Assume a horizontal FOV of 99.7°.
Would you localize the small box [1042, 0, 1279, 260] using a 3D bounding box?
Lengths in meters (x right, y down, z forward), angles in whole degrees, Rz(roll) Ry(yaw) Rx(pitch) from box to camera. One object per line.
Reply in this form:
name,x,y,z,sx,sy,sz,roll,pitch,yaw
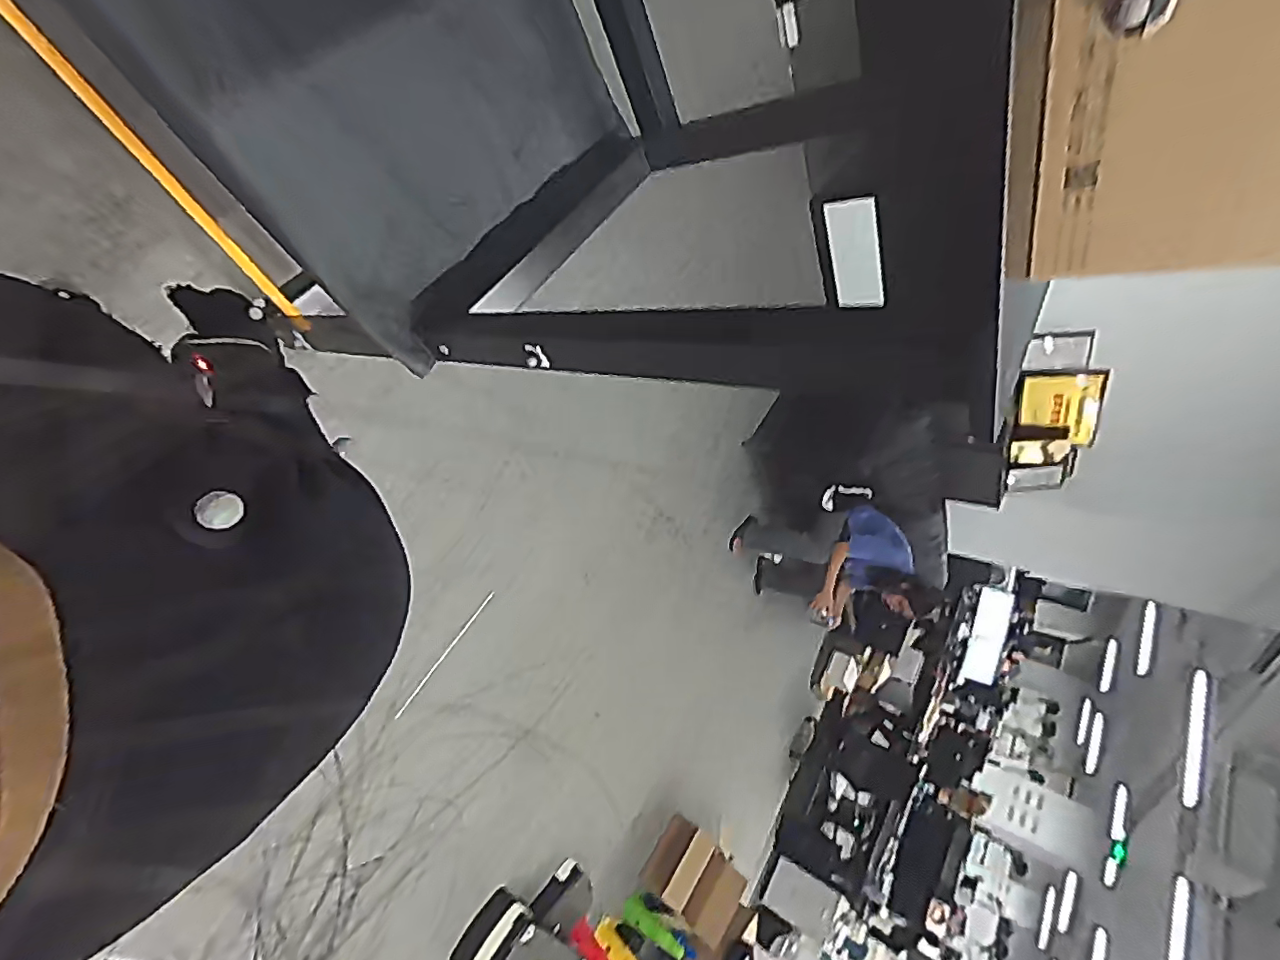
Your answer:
small box,0.323,-0.230,0.272,0.179,0.176,0.168,-53,135,-28
